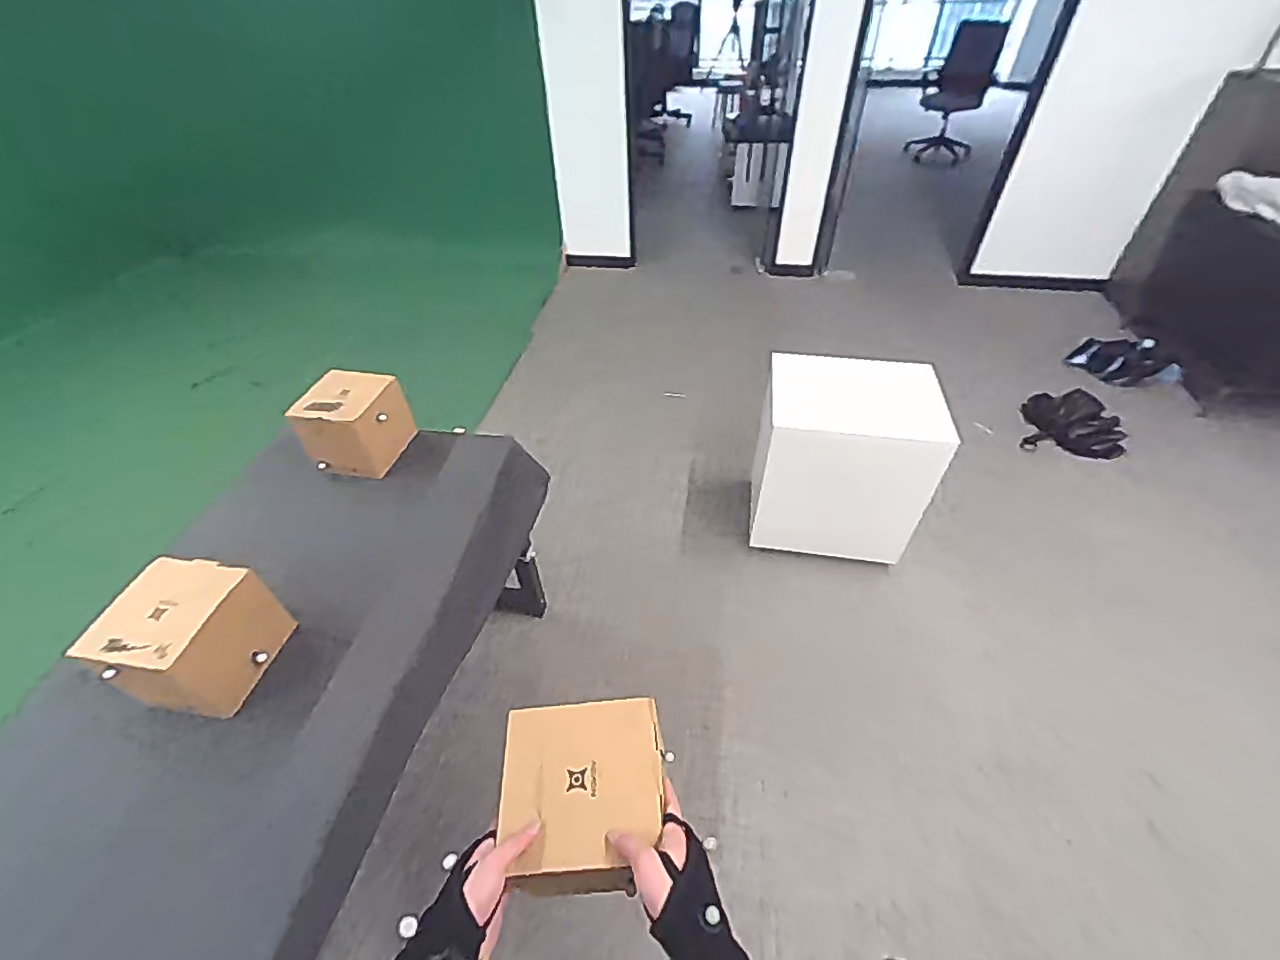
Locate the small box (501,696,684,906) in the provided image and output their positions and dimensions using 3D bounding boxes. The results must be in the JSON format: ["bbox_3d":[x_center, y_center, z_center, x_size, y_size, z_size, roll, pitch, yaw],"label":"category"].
[{"bbox_3d":[-0.047,0.370,0.622,0.179,0.176,0.168,-6,45,-1],"label":"small box"}]

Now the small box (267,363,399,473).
[{"bbox_3d":[-0.667,-0.136,1.204,0.168,0.176,0.179,8,44,6],"label":"small box"}]

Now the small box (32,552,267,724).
[{"bbox_3d":[-0.710,0.237,0.817,0.168,0.176,0.179,7,43,5],"label":"small box"}]
